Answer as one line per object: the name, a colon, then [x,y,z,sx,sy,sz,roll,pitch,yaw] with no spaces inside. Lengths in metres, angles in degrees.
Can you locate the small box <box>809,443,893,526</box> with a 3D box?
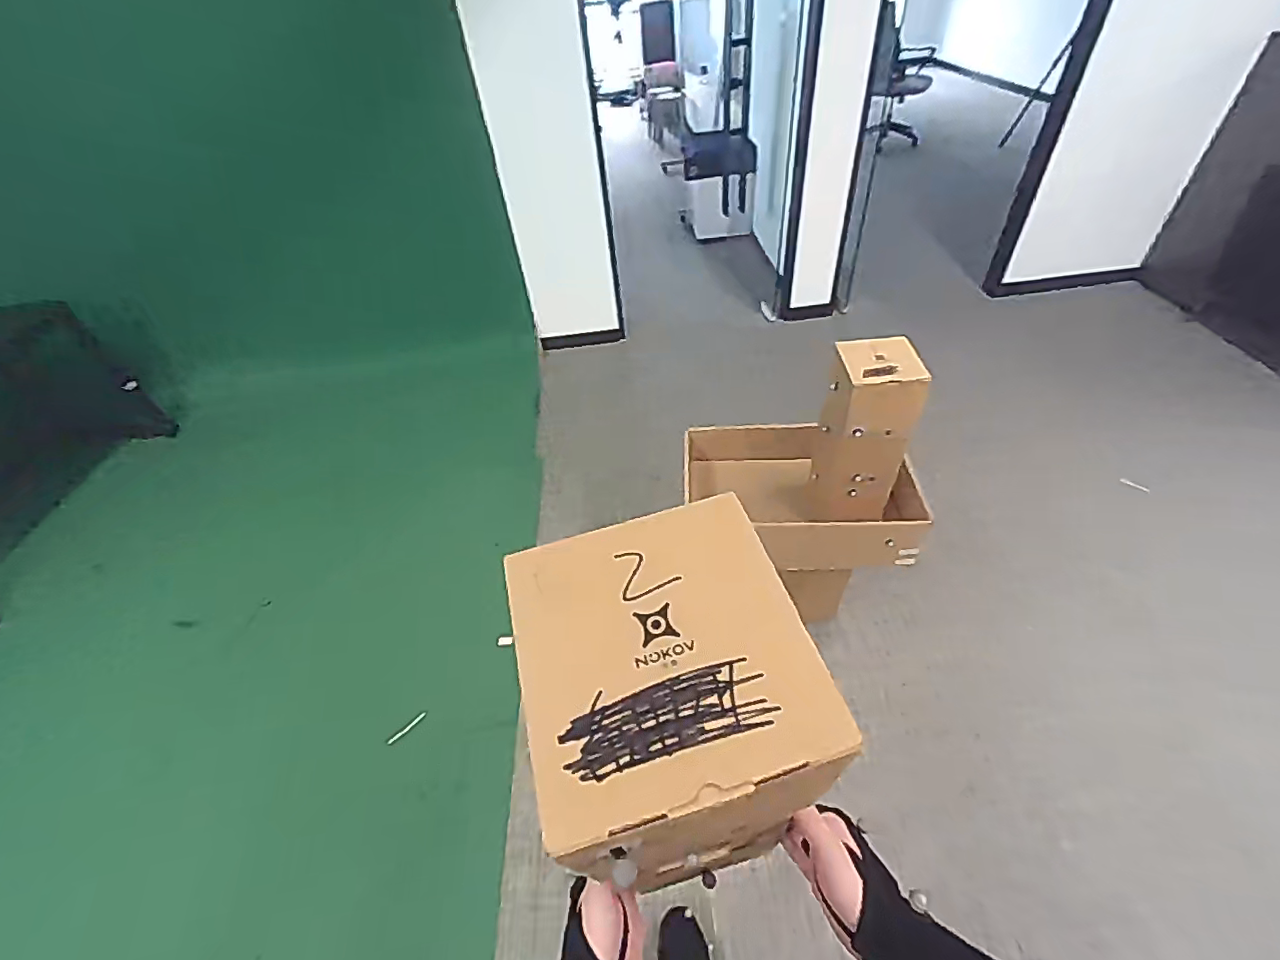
small box: [0.576,0.008,1.503,0.168,0.176,0.179,-3,45,5]

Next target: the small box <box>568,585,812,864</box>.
small box: [0.036,0.229,0.505,0.168,0.176,0.179,-13,51,-5]

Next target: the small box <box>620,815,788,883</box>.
small box: [0.052,0.337,0.626,0.168,0.176,0.179,-14,51,-4]

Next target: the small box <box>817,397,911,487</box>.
small box: [0.562,-0.102,1.384,0.168,0.176,0.179,-3,46,4]

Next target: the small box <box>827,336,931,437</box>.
small box: [0.548,-0.213,1.264,0.168,0.176,0.179,-3,45,4]
